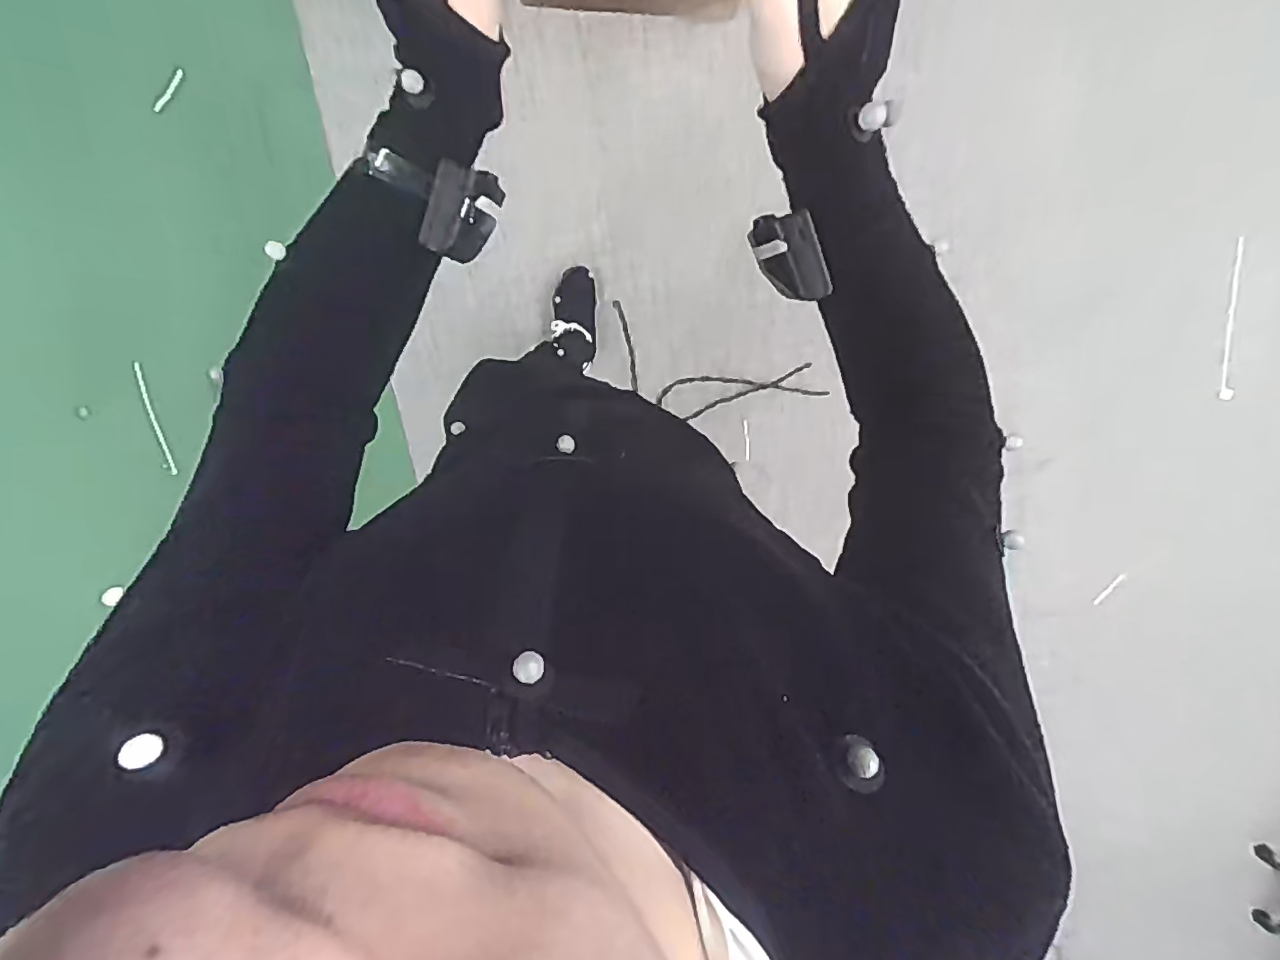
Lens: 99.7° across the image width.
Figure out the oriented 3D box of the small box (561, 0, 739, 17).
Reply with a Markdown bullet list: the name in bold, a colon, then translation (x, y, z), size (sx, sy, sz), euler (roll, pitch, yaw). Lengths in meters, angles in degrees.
- **small box**: translation (0.001, -0.437, 0.338), size (0.179, 0.176, 0.168), euler (3, 101, -2)
